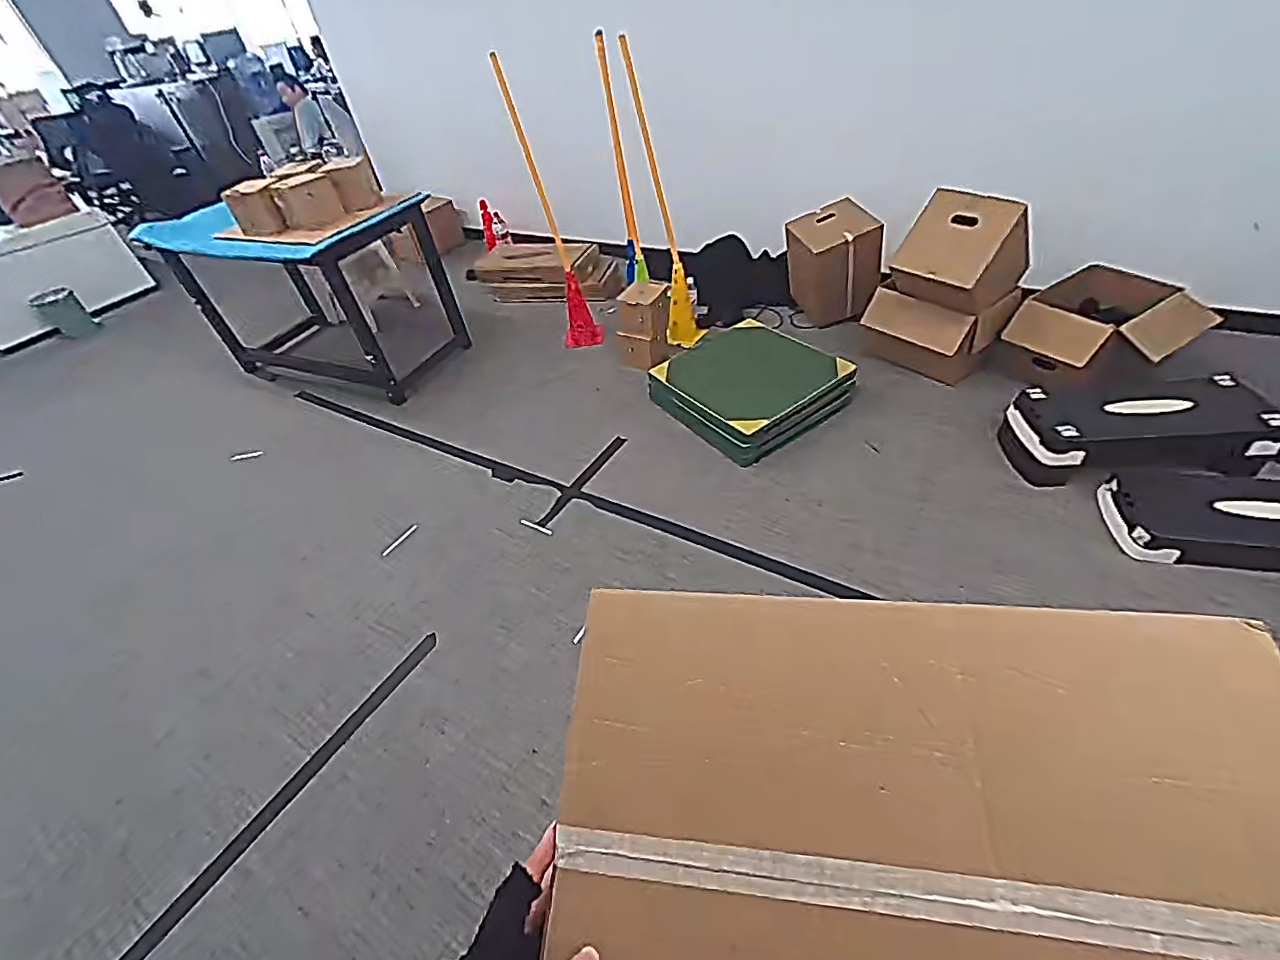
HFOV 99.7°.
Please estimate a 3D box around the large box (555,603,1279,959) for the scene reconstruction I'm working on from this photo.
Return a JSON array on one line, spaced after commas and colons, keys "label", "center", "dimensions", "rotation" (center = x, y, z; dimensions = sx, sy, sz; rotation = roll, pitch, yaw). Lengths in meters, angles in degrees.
[{"label": "large box", "center": [0.175, 0.296, 0.419], "dimensions": [0.408, 0.320, 0.320], "rotation": [0, 62, 12]}]
